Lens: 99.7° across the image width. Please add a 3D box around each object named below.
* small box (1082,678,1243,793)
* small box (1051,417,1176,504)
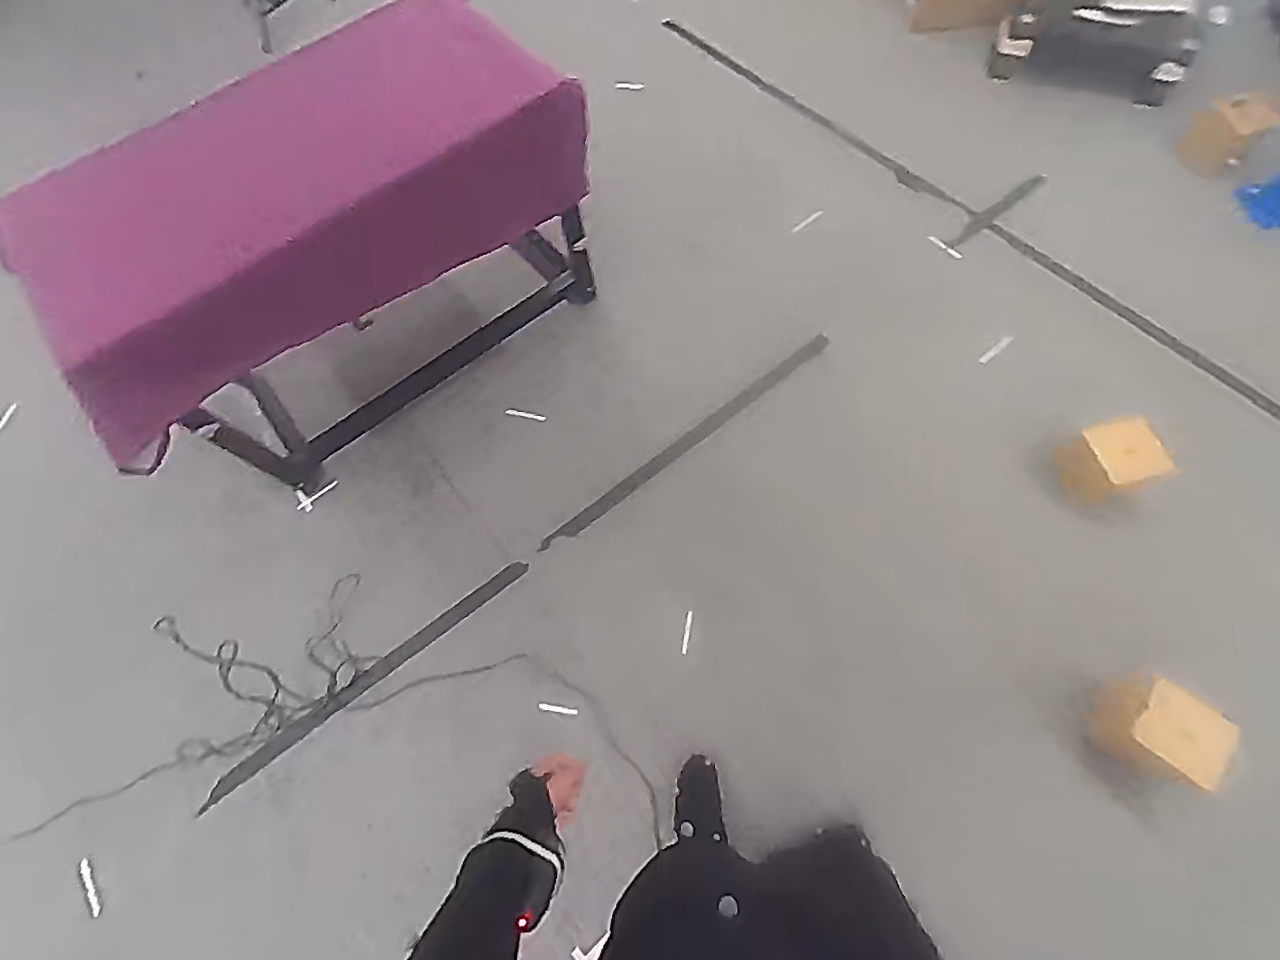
[{"bbox_3d":[1.198,0.581,1.253,0.179,0.176,0.168,38,75,18],"label":"small box"},{"bbox_3d":[1.298,-0.048,1.505,0.179,0.176,0.168,-13,67,-2],"label":"small box"}]
